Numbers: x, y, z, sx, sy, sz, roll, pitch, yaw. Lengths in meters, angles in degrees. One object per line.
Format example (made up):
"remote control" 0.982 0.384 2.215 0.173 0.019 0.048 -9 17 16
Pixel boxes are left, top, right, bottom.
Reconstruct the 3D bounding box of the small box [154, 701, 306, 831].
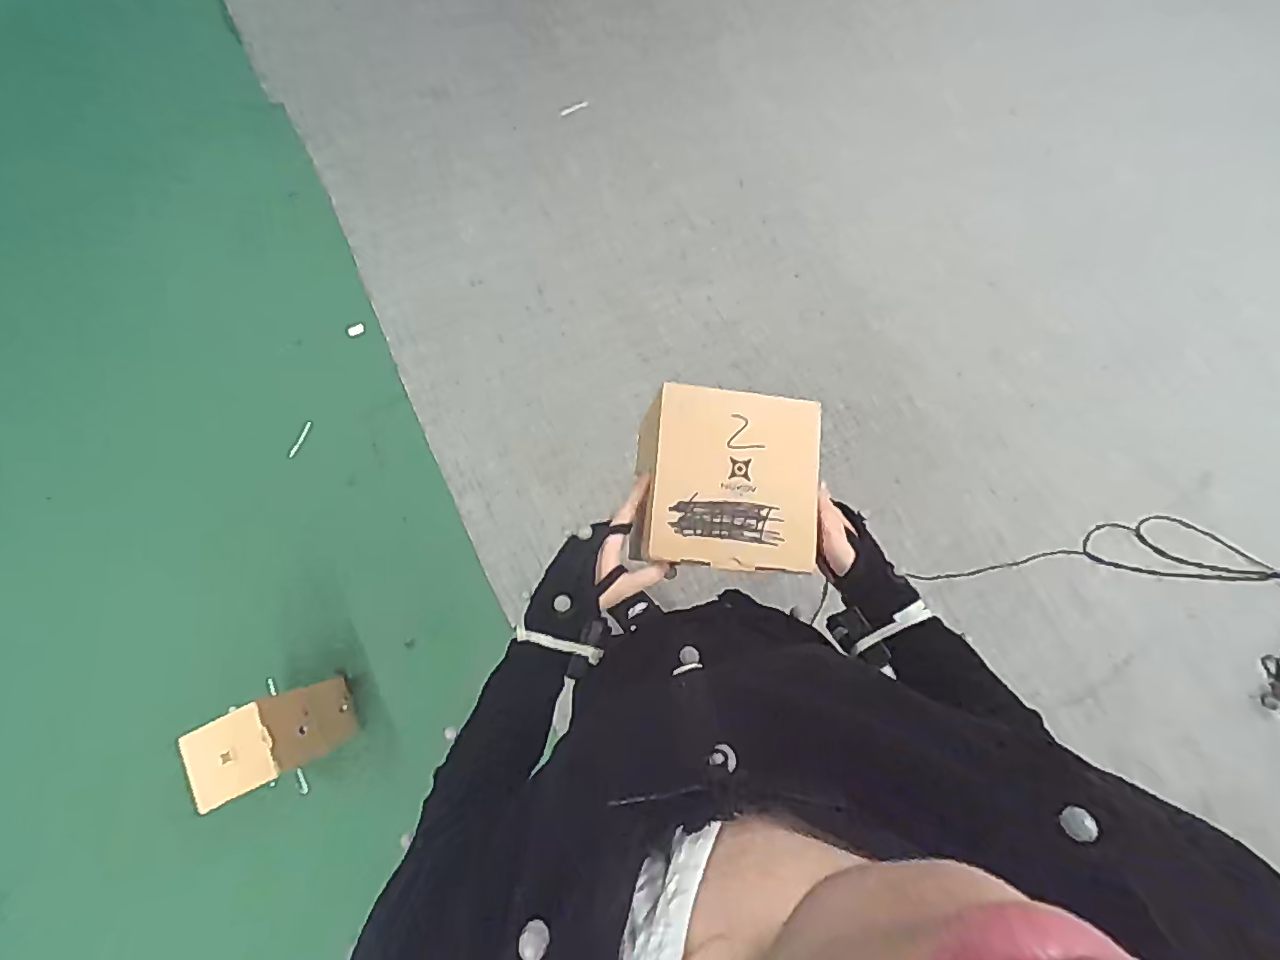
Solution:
"small box" -0.872 0.603 1.163 0.179 0.176 0.168 -26 79 -6

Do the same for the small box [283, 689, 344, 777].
"small box" -0.870 0.636 1.322 0.179 0.176 0.168 -25 80 -5
